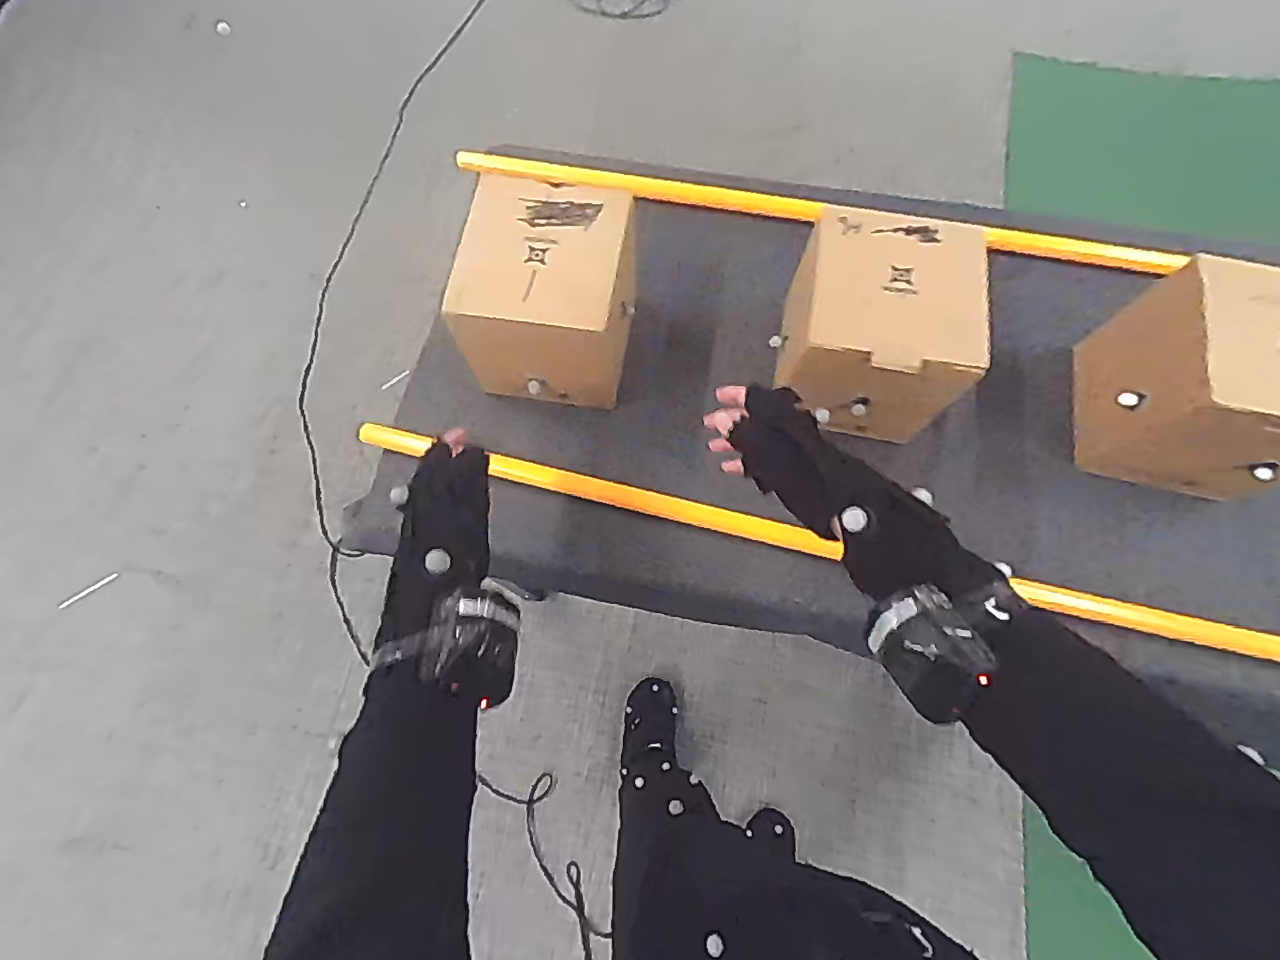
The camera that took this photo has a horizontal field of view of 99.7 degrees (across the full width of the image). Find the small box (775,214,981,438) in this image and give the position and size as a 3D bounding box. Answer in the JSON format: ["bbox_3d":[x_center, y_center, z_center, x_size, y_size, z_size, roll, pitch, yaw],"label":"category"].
[{"bbox_3d":[0.253,-0.163,0.609,0.168,0.176,0.179,7,70,5],"label":"small box"}]

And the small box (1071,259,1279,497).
[{"bbox_3d":[0.605,-0.097,0.580,0.168,0.176,0.179,13,70,5],"label":"small box"}]

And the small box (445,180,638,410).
[{"bbox_3d":[-0.098,-0.204,0.624,0.168,0.176,0.179,8,71,4],"label":"small box"}]
